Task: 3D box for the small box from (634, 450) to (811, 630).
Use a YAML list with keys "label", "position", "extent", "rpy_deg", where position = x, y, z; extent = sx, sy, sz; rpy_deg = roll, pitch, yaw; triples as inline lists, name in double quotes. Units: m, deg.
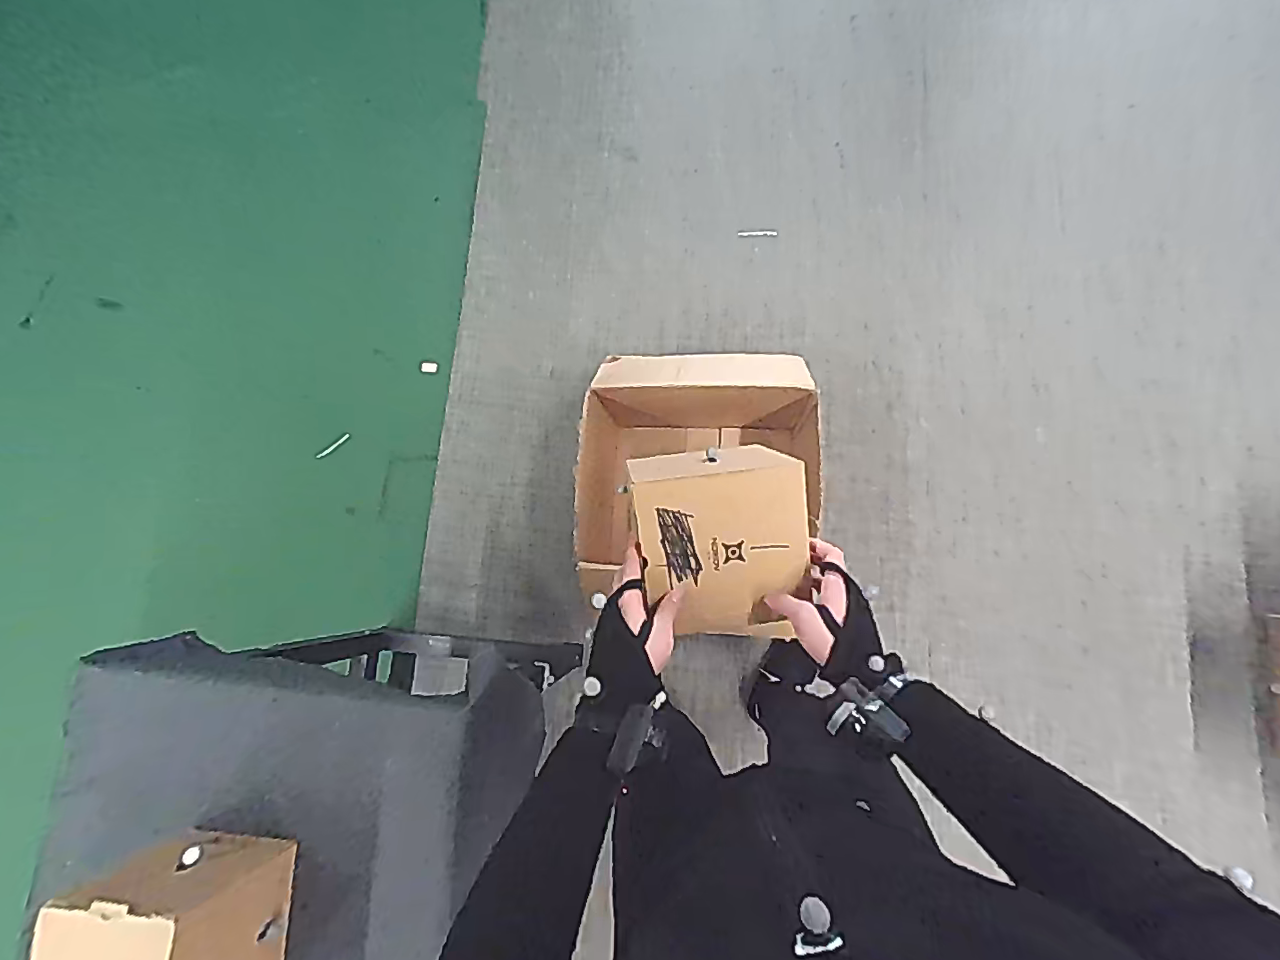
- label: "small box"
  position: [0.082, 0.058, 0.624]
  extent: [0.179, 0.176, 0.168]
  rpy_deg: [-3, 101, -3]
